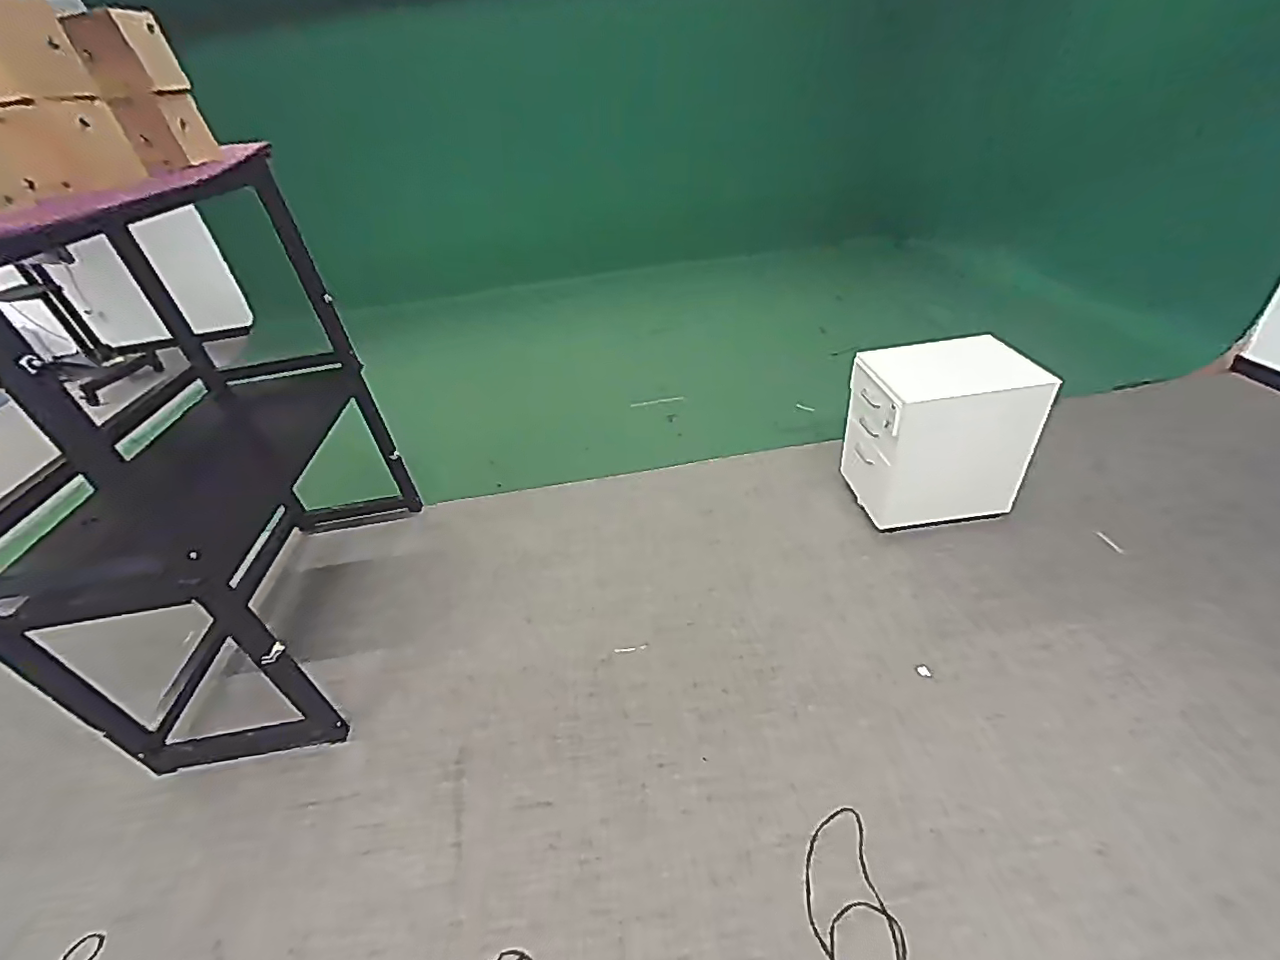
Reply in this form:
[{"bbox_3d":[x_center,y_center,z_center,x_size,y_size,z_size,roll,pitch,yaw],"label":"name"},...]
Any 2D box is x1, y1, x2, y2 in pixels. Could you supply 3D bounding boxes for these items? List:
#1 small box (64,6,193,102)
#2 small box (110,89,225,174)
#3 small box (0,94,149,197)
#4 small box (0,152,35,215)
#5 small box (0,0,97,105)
[{"bbox_3d":[-1.313,-1.084,1.387,0.168,0.176,0.179,-11,38,1],"label":"small box"},{"bbox_3d":[-1.301,-0.956,1.487,0.168,0.176,0.179,-10,39,0],"label":"small box"},{"bbox_3d":[-1.249,-0.731,1.185,0.168,0.176,0.179,-8,36,-1],"label":"small box"},{"bbox_3d":[-1.165,-0.505,0.868,0.179,0.176,0.168,-16,36,-12],"label":"small box"},{"bbox_3d":[-1.266,-0.857,1.084,0.168,0.176,0.179,-3,38,8],"label":"small box"}]
